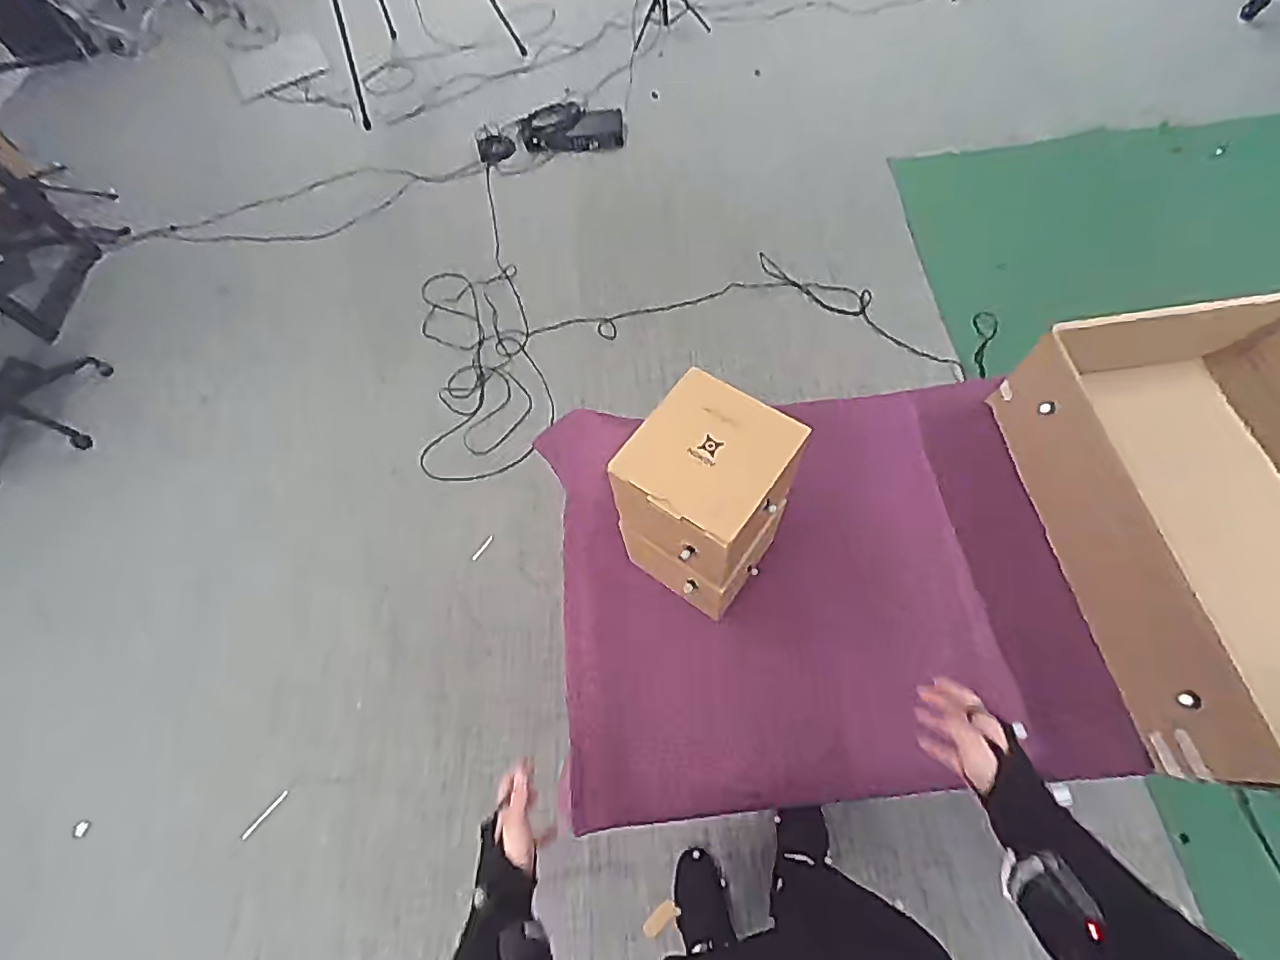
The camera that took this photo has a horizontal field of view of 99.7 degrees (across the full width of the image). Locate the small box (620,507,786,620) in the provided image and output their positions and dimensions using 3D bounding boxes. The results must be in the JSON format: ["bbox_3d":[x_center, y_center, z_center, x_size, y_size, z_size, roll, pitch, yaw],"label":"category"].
[{"bbox_3d":[0.094,0.092,0.822,0.179,0.176,0.168,33,69,20],"label":"small box"}]

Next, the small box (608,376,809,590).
[{"bbox_3d":[0.085,0.012,0.680,0.168,0.176,0.179,33,70,19],"label":"small box"}]
